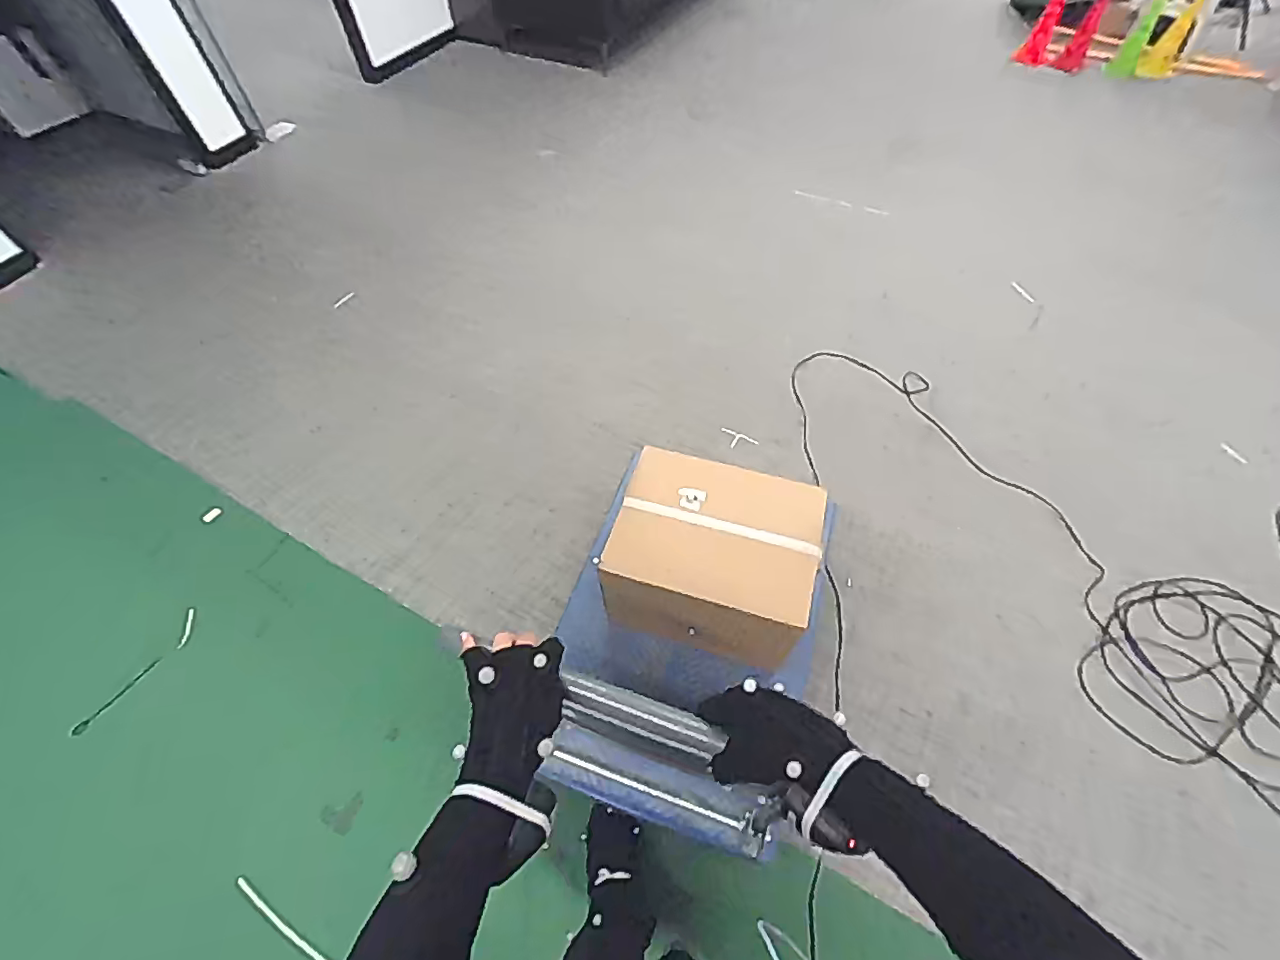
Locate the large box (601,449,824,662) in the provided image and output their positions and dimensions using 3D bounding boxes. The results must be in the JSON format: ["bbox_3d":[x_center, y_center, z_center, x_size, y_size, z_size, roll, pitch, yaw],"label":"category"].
[{"bbox_3d":[0.162,0.176,1.219,0.408,0.320,0.320,14,58,11],"label":"large box"}]
